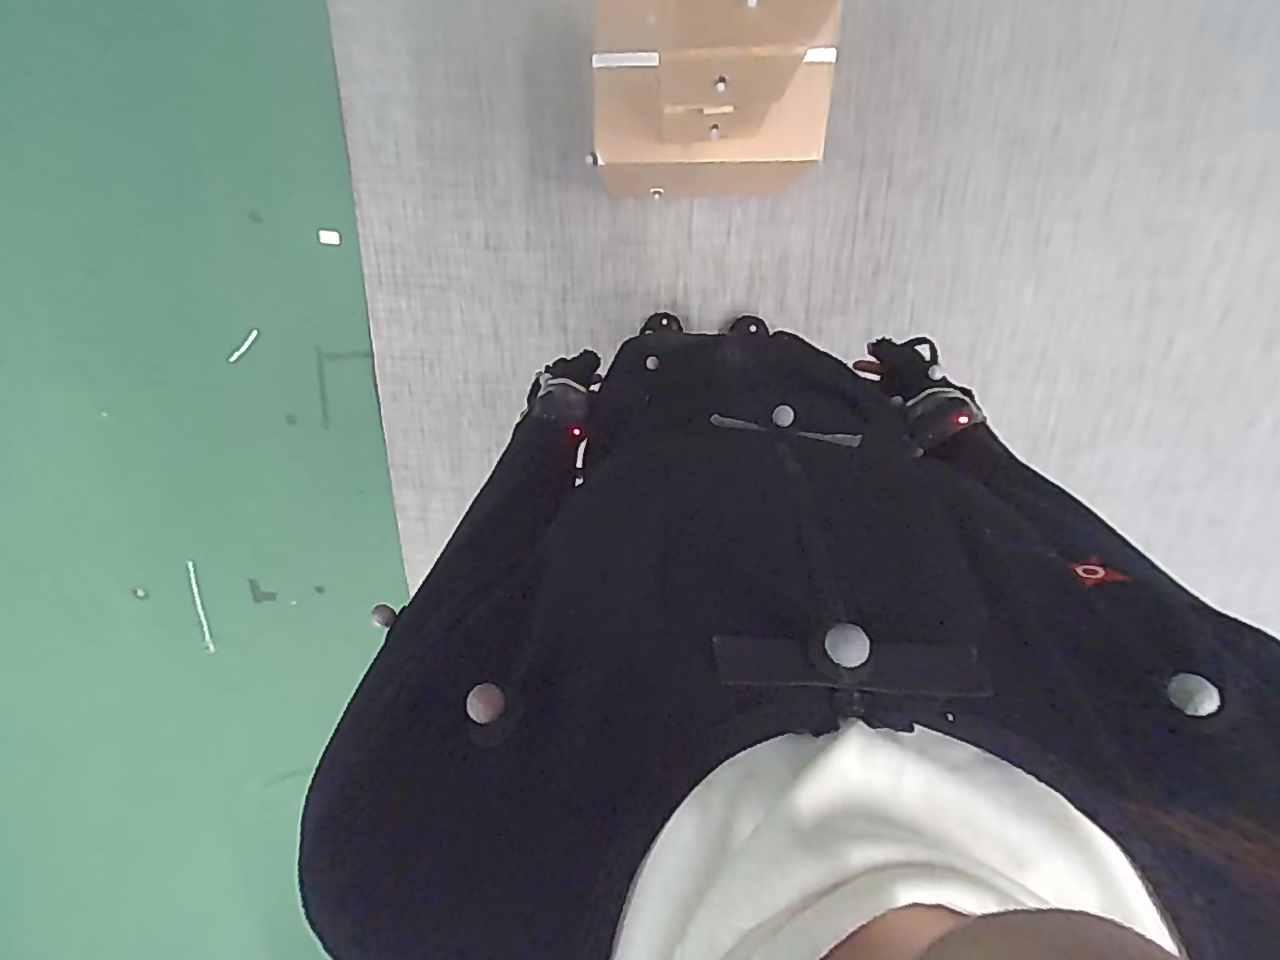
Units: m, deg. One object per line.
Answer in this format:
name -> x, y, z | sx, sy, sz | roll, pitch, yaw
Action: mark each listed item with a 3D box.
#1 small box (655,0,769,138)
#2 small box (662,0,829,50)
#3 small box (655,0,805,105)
small box -> 0.109, -0.652, 0.842 | 0.168, 0.176, 0.179 | -2, 109, 4
small box -> 0.108, -0.554, 0.530 | 0.179, 0.176, 0.168 | -1, 109, 2
small box -> 0.110, -0.599, 0.686 | 0.179, 0.176, 0.168 | 1, 108, 4
